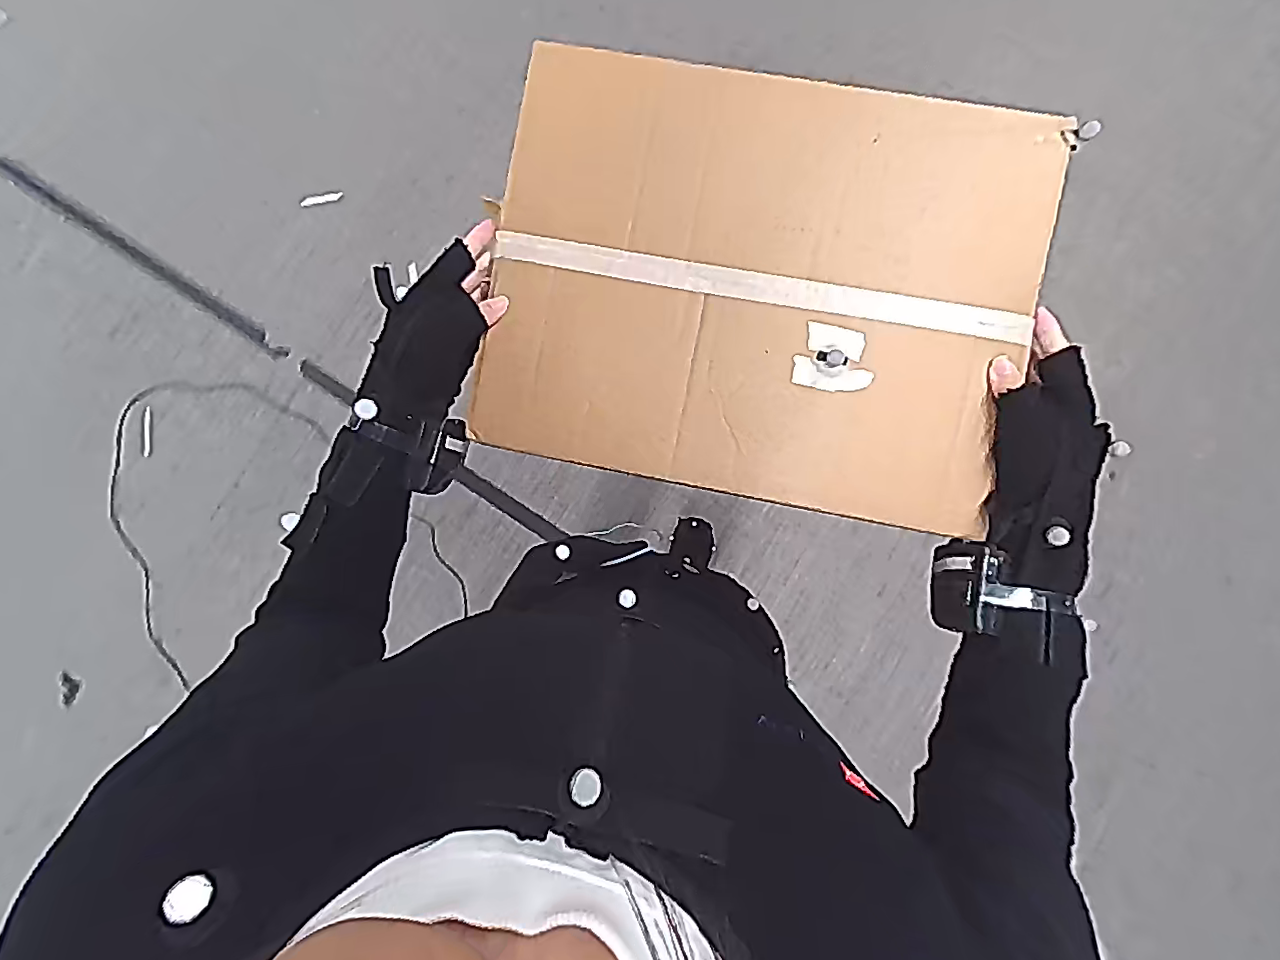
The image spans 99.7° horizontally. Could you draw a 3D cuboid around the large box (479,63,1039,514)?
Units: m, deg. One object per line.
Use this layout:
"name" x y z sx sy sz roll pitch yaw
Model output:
"large box" 0.092 -0.156 0.572 0.408 0.320 0.320 10 93 3
